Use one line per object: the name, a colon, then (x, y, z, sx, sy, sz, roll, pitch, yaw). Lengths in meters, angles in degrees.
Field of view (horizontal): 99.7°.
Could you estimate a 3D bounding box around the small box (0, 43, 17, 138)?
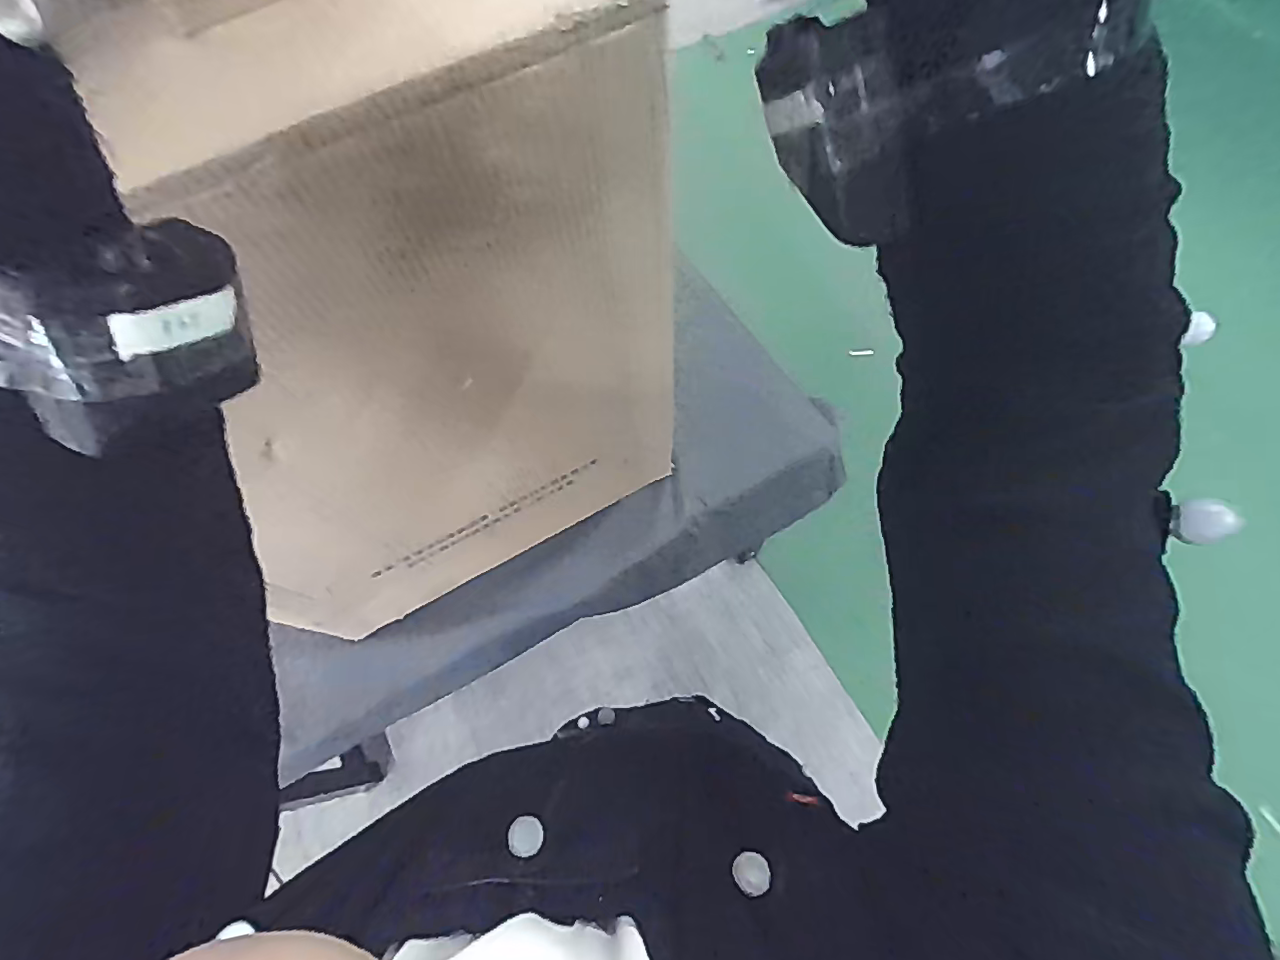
small box: (-0.415, -0.226, 0.205, 0.168, 0.176, 0.179, -31, 71, -7)
